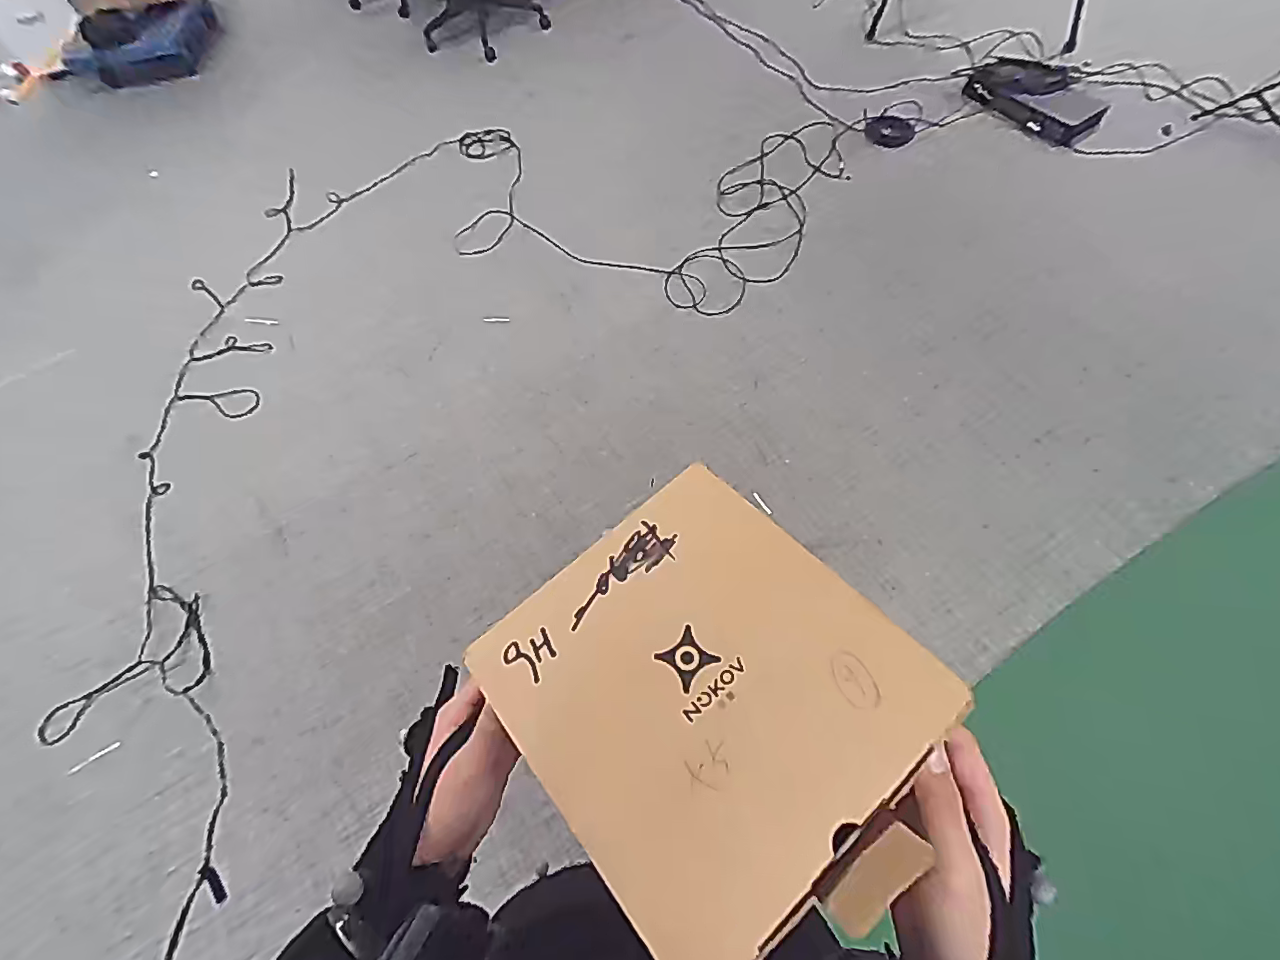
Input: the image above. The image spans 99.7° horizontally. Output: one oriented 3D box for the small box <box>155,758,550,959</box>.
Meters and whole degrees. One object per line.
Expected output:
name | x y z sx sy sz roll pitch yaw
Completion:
small box | -0.174 0.299 0.355 0.176 0.168 0.179 -8 79 14
